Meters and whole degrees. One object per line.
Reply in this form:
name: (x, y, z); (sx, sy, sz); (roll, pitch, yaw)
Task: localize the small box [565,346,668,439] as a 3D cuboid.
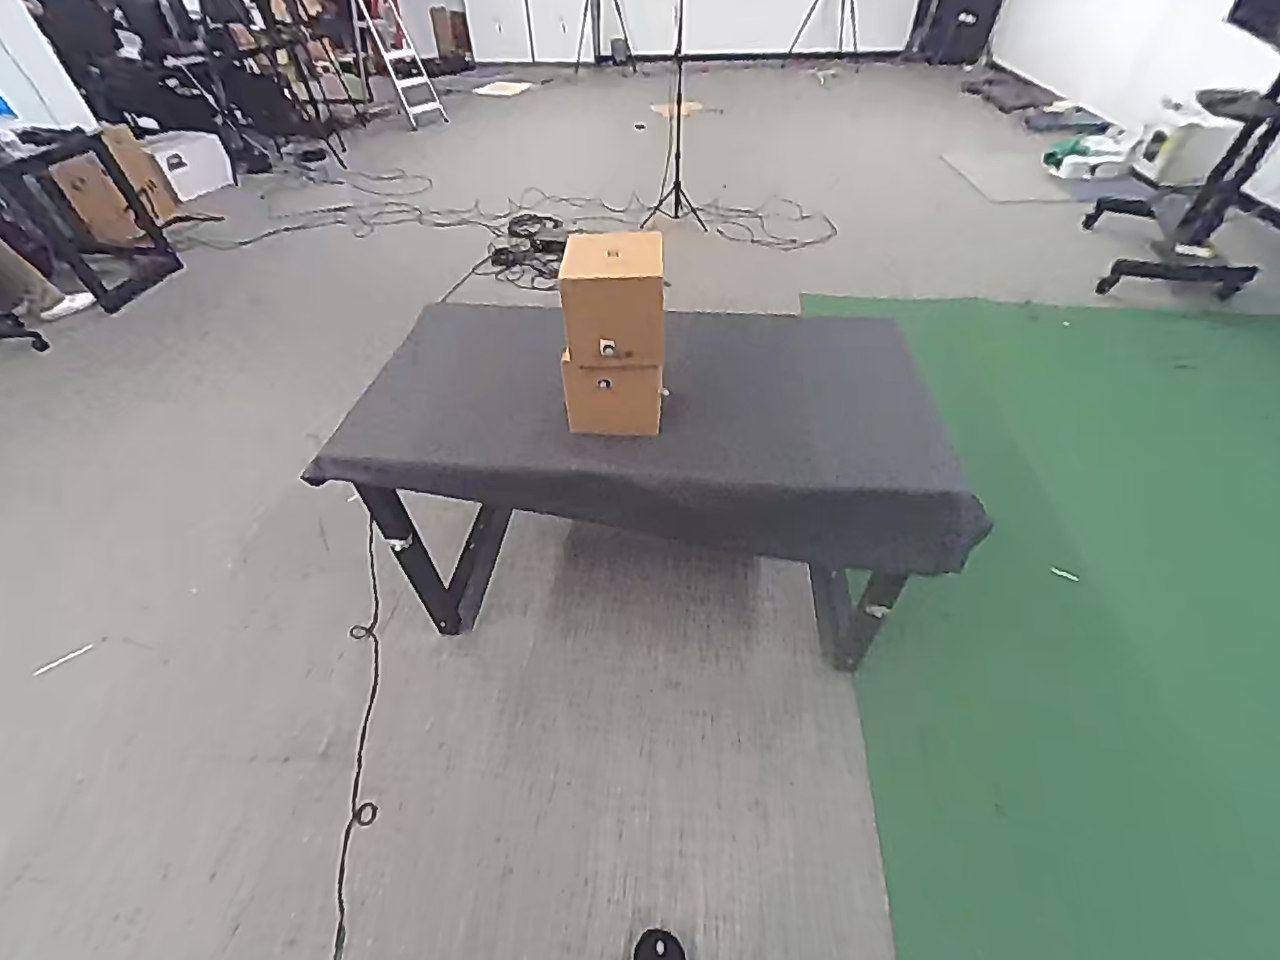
small box: (-0.037, -0.196, 1.067); (0.179, 0.176, 0.168); (3, 45, 5)

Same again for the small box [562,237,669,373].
small box: (-0.034, -0.305, 0.947); (0.168, 0.176, 0.179); (-2, 46, 3)
